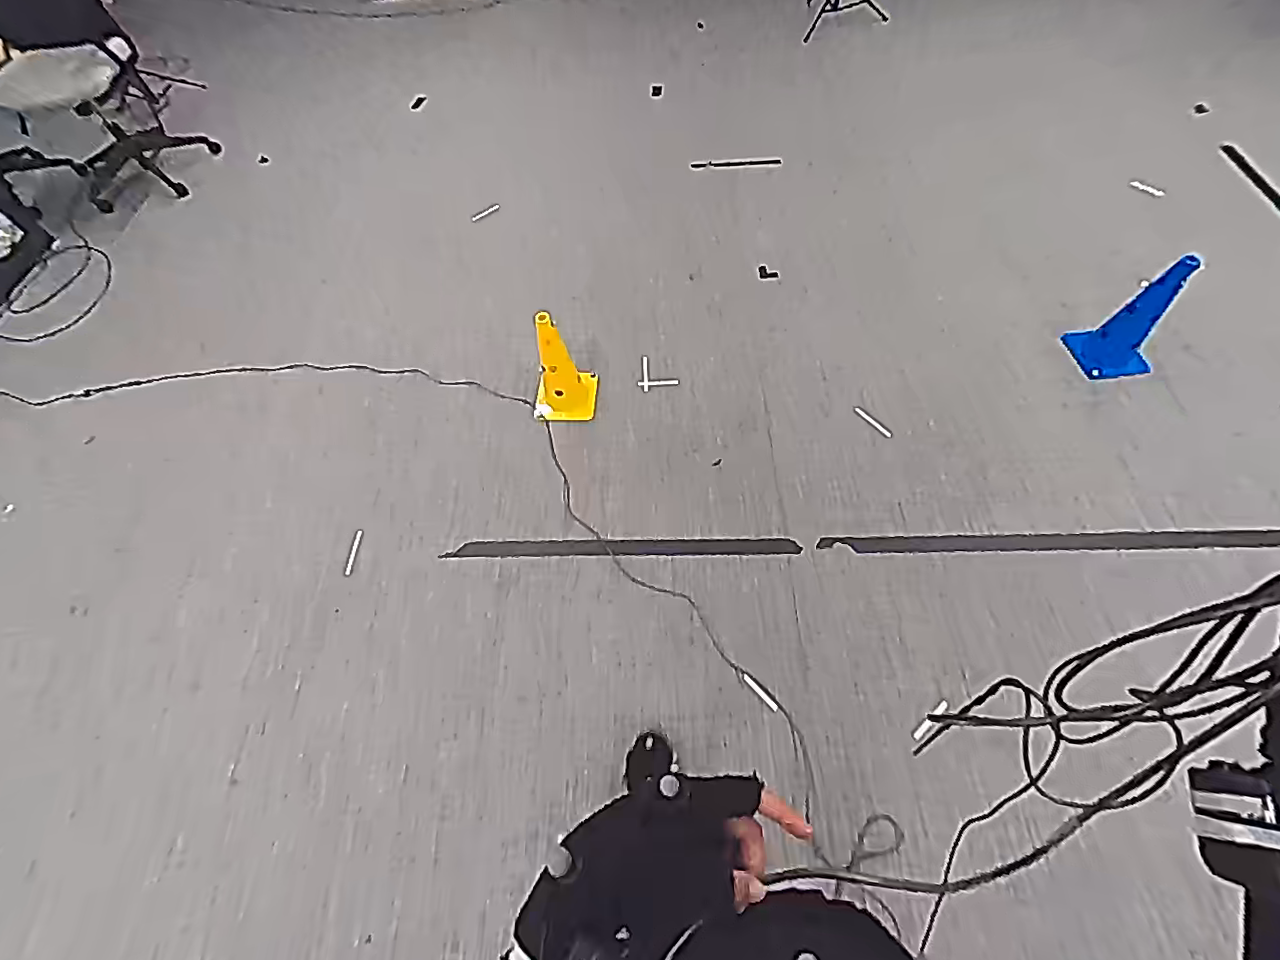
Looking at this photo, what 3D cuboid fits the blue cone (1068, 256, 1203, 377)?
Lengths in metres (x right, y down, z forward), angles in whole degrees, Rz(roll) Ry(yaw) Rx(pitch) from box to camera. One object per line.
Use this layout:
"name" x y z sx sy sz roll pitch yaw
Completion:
"blue cone" 1.484 -0.494 1.592 0.193 0.380 0.192 -7 60 1
